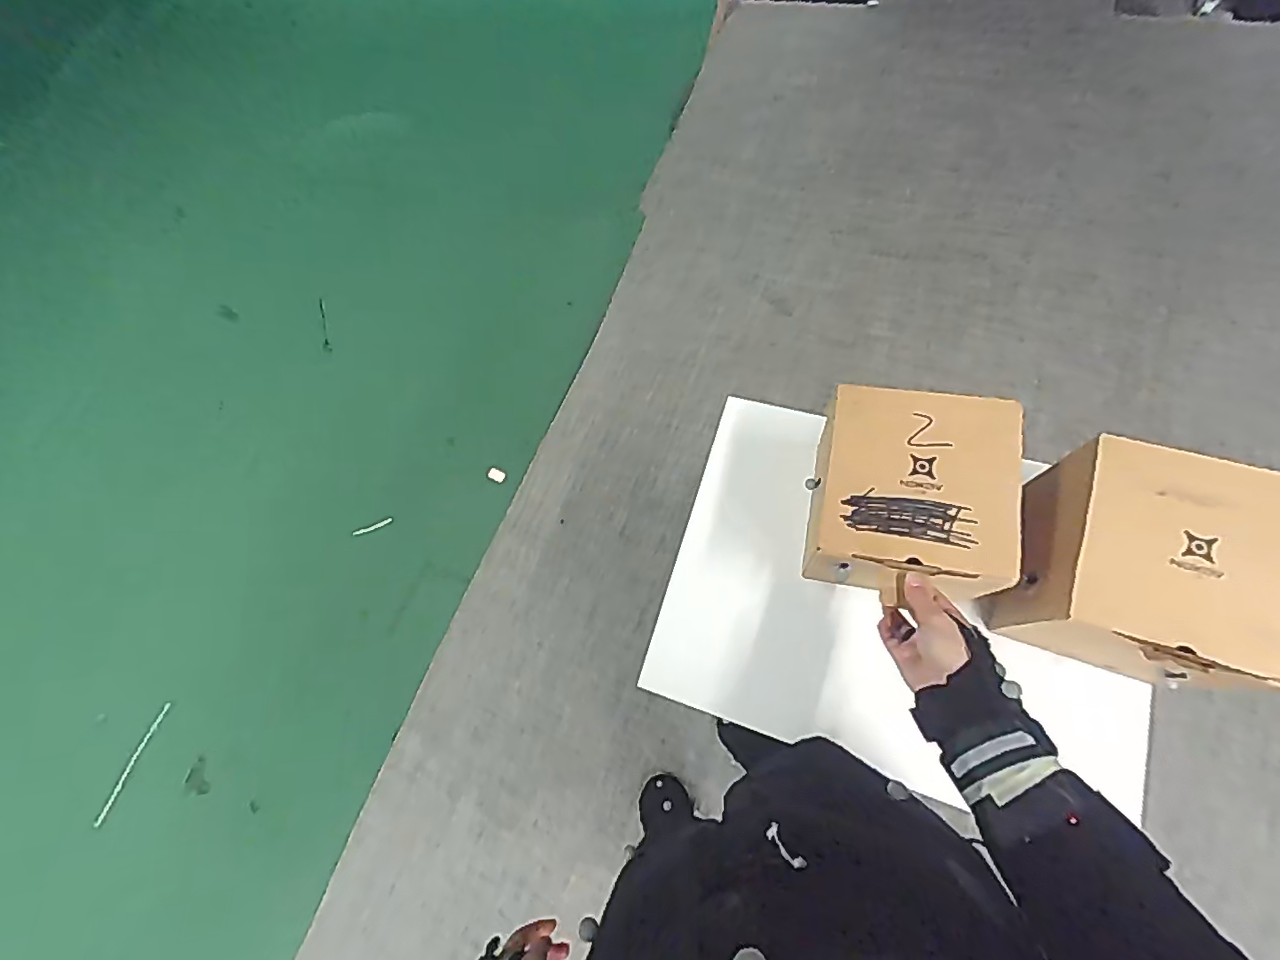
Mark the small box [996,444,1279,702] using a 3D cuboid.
[{"bbox_3d":[0.469,0.093,0.512,0.168,0.176,0.179,17,75,16],"label":"small box"}]
